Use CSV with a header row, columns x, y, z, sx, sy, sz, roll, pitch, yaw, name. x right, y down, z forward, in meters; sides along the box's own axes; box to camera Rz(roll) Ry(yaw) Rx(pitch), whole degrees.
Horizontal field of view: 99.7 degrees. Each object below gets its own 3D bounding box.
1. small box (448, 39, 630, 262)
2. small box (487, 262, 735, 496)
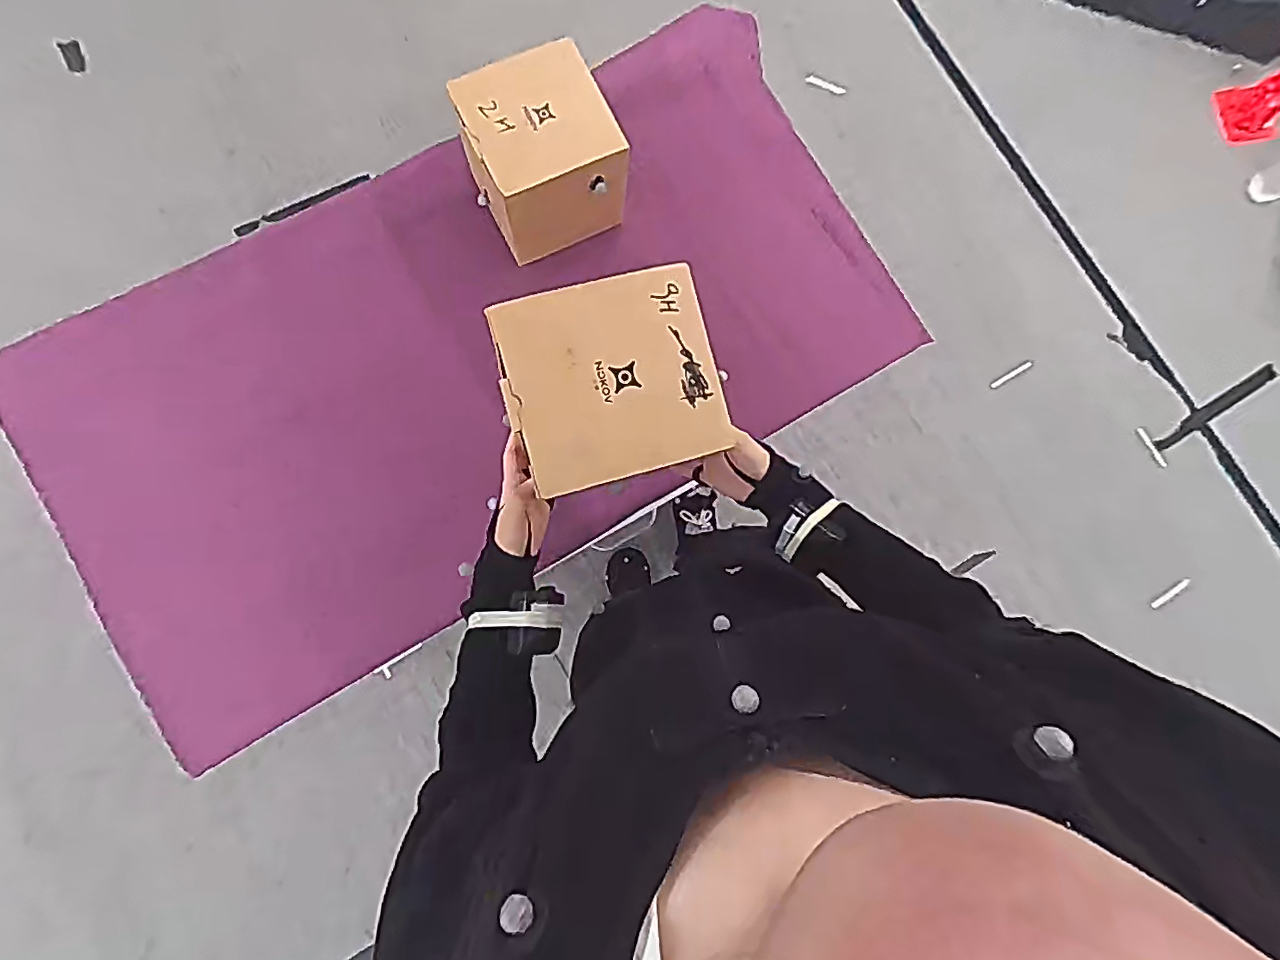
x,y,z,sx,sy,sz,roll,pitch,yaw,name
-0.131,-0.438,0.743,0.179,0.176,0.168,-27,87,-7,small box
-0.030,-0.083,0.523,0.179,0.176,0.168,-15,92,-7,small box
